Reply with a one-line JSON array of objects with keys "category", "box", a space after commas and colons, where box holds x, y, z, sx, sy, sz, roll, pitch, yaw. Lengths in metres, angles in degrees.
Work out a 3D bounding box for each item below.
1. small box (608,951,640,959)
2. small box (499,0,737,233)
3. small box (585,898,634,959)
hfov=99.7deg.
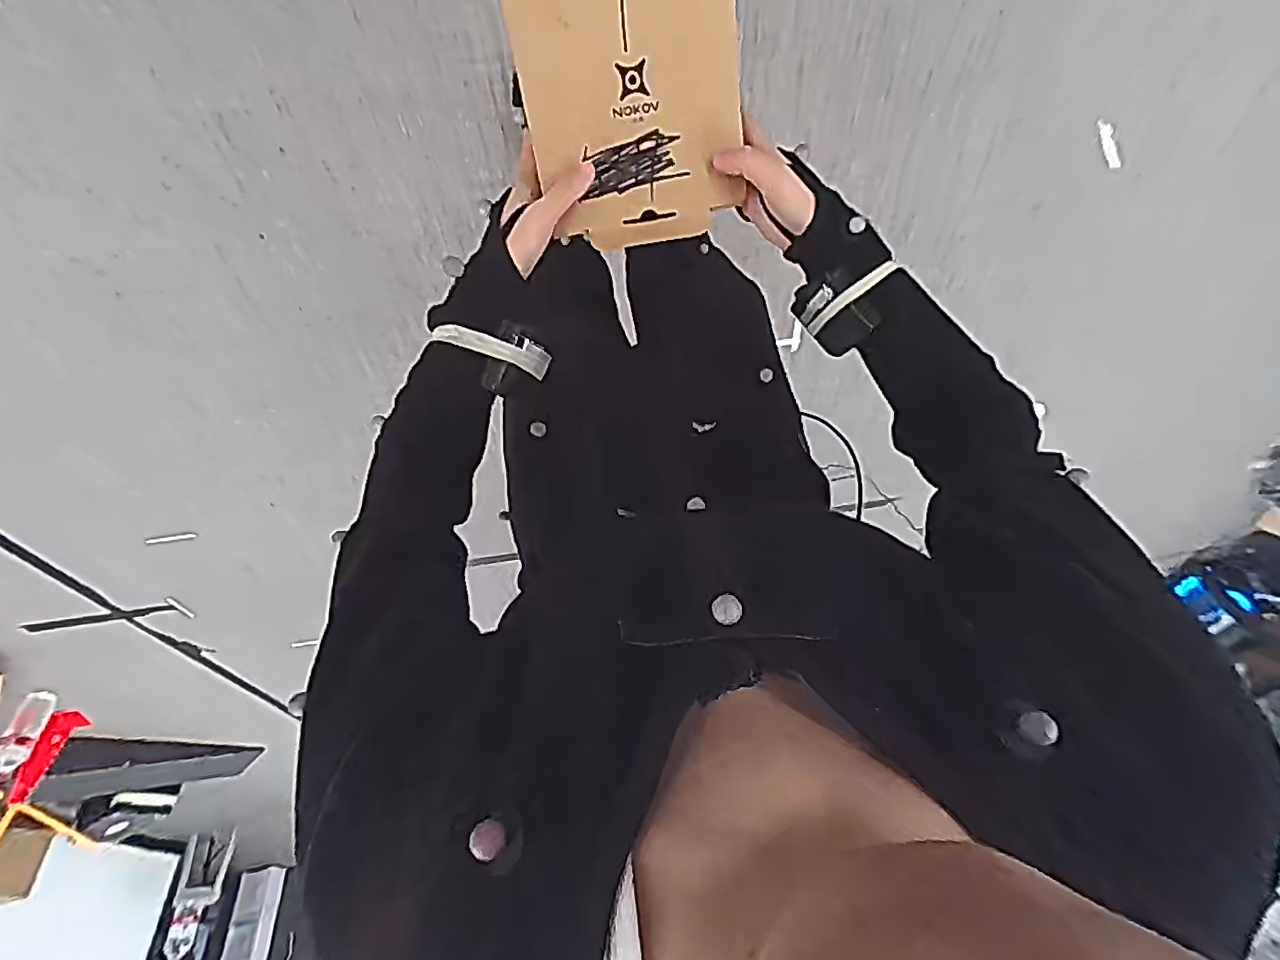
[{"category": "small box", "box": [-0.083, 1.845, 1.969, 0.179, 0.176, 0.168, -10, 139, -2]}, {"category": "small box", "box": [-0.017, -0.329, 0.481, 0.168, 0.176, 0.179, -10, 116, -2]}, {"category": "small box", "box": [-0.115, 1.718, 2.066, 0.168, 0.176, 0.179, -9, 140, -3]}]
